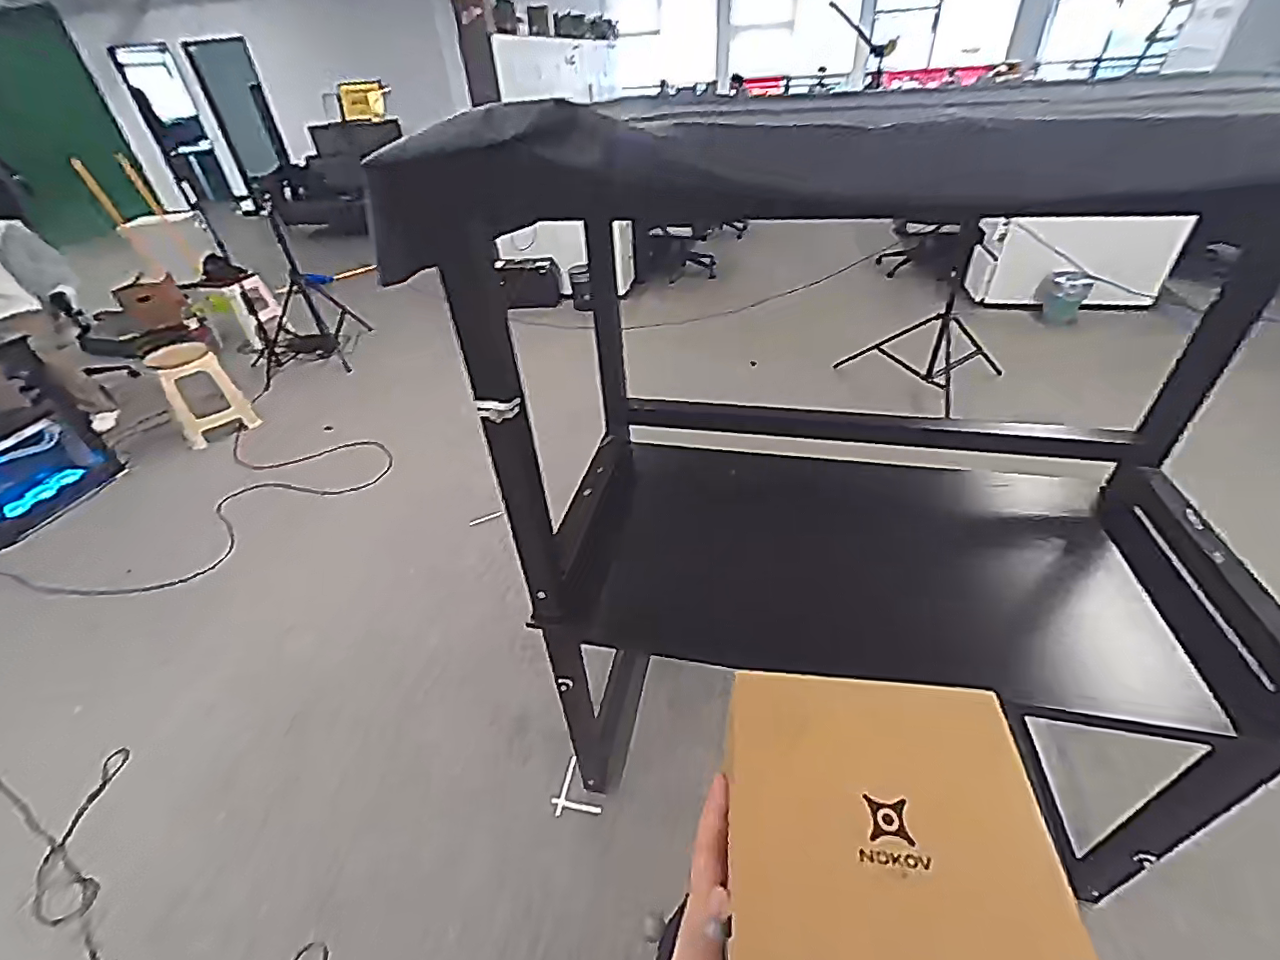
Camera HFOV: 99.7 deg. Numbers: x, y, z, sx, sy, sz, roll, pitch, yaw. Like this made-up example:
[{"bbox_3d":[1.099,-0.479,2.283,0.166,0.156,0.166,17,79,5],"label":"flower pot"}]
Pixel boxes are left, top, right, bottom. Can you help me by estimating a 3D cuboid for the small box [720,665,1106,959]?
[{"bbox_3d":[0.137,0.244,0.337,0.168,0.176,0.179,2,41,7],"label":"small box"}]
